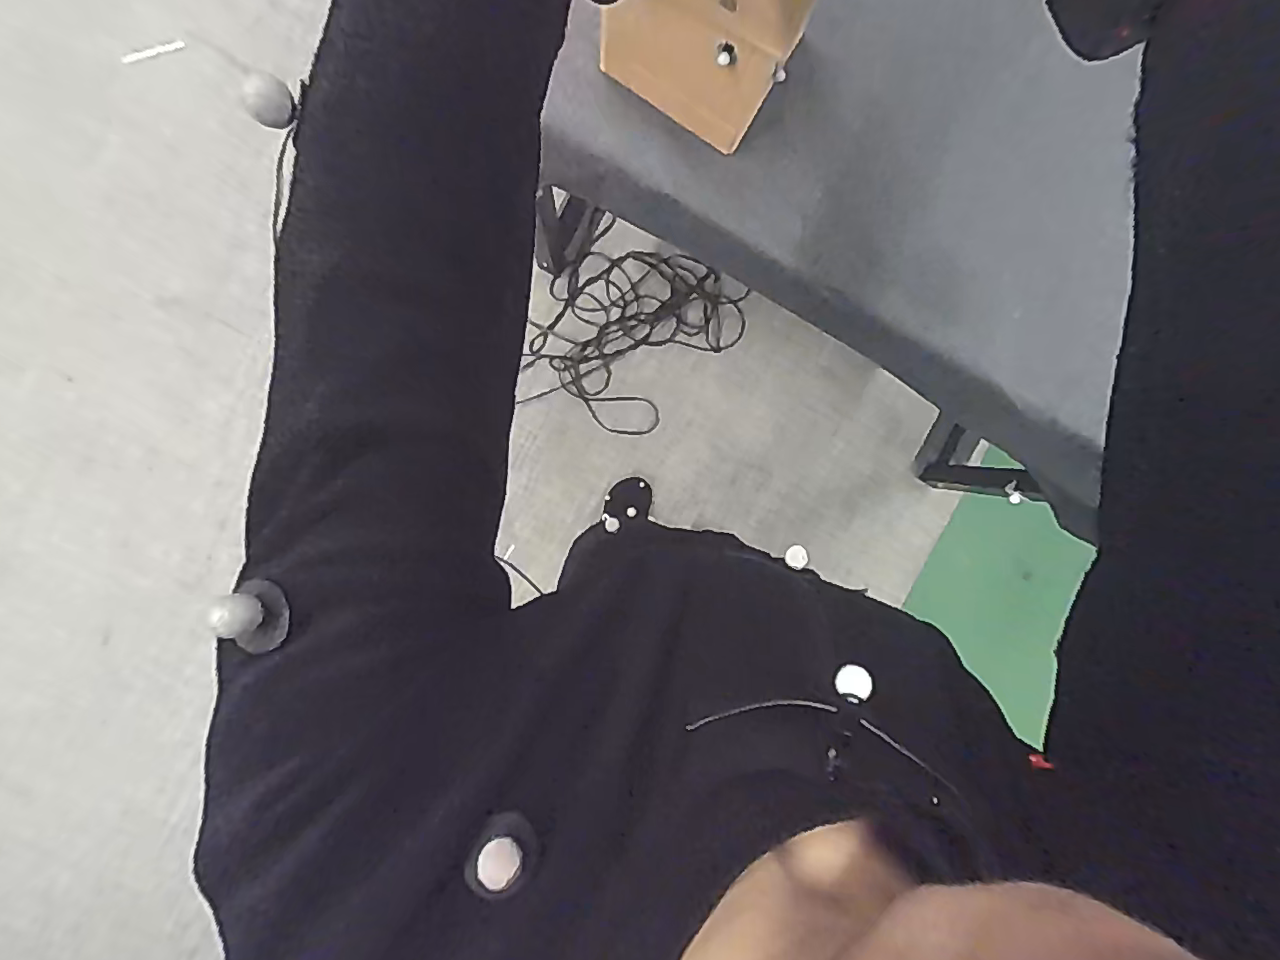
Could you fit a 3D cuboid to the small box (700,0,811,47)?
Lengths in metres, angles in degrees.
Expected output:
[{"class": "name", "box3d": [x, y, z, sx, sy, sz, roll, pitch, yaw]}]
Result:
[{"class": "small box", "box3d": [0.090, -0.459, 0.365, 0.168, 0.176, 0.179, 25, 90, -8]}]

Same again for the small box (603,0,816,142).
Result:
[{"class": "small box", "box3d": [0.074, -0.478, 0.526, 0.179, 0.176, 0.168, 30, 91, -7]}]
